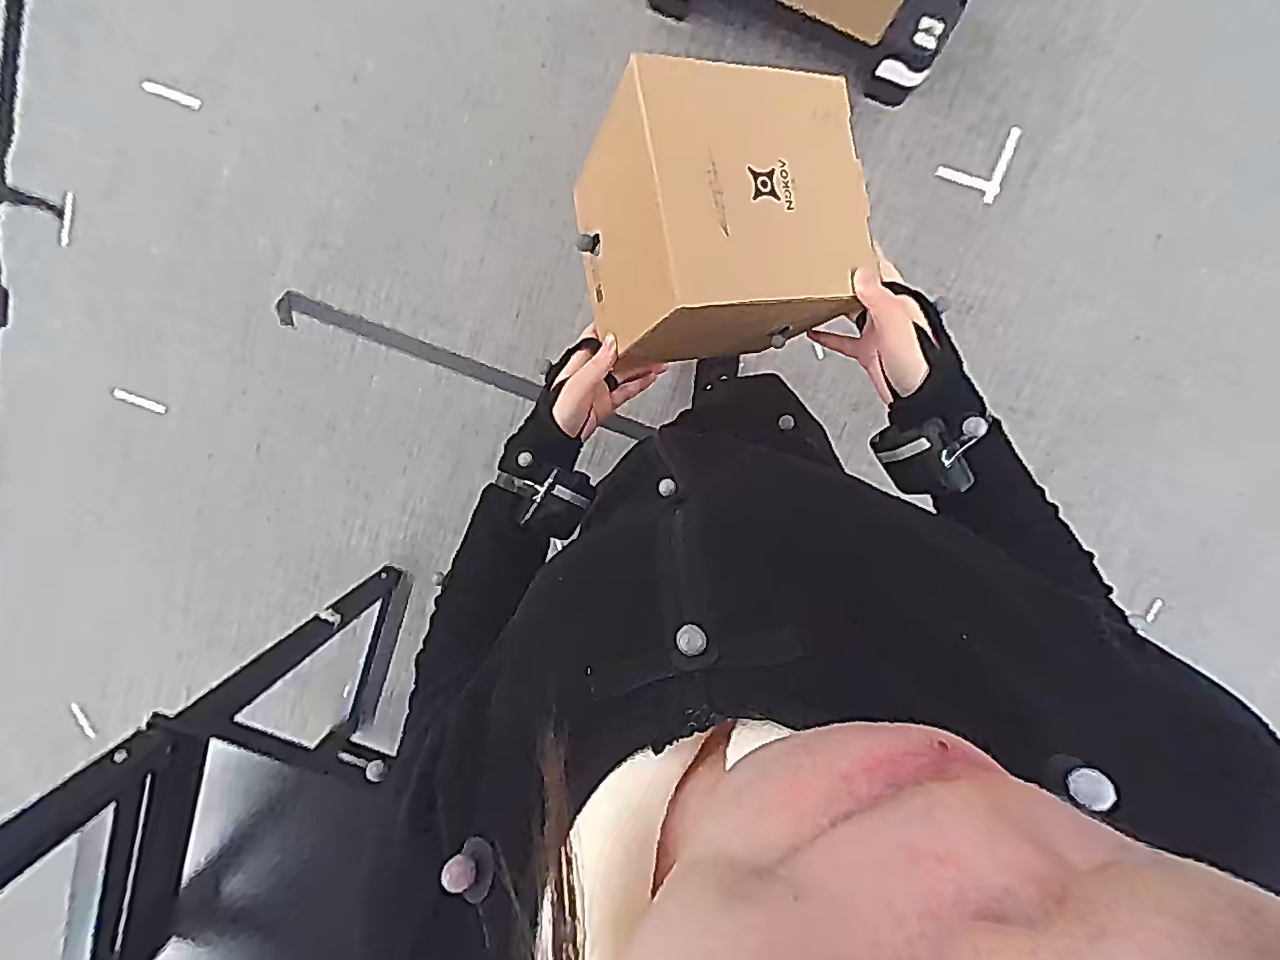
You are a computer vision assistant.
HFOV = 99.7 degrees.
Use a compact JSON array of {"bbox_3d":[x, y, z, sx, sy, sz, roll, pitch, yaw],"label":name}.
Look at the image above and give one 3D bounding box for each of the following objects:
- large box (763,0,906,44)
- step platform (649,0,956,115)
[{"bbox_3d":[0.346,-1.067,0.929,0.408,0.320,0.320,23,100,0],"label":"large box"},{"bbox_3d":[0.336,-1.108,1.165,0.684,0.204,0.286,26,101,-1],"label":"step platform"}]
